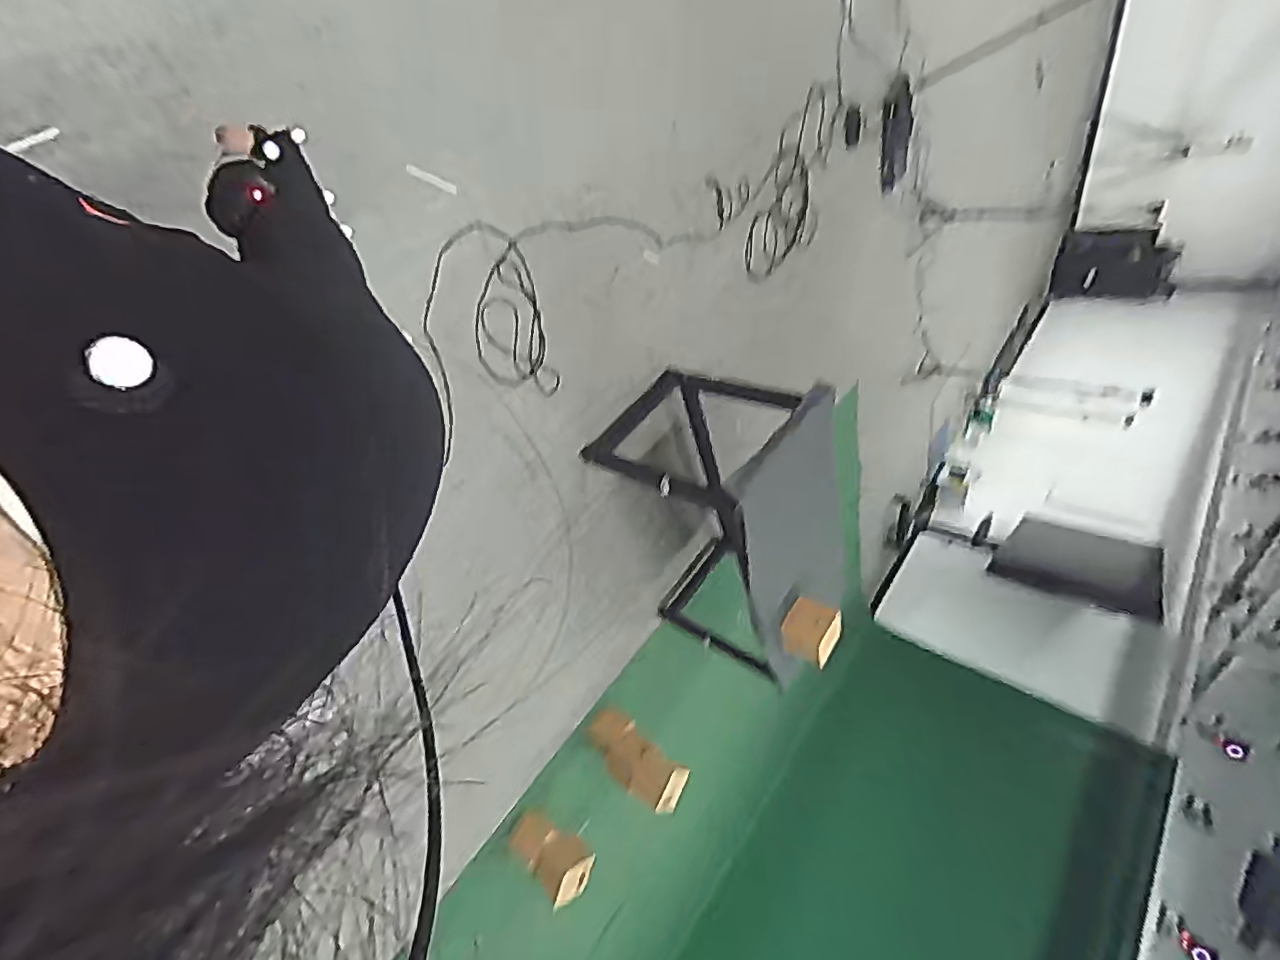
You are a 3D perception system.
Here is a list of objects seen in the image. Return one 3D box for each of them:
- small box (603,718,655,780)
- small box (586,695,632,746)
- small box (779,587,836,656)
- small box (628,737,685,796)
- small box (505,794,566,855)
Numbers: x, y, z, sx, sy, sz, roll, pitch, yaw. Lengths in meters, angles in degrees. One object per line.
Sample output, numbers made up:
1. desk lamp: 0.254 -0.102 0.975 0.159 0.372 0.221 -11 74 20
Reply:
1. small box: -0.055 1.261 2.556 0.168 0.176 0.179 -7 113 -46
2. small box: -0.151 1.198 2.674 0.168 0.176 0.179 -31 129 -36
3. small box: 0.669 0.564 2.175 0.179 0.176 0.168 -48 137 -27
4. small box: 0.070 1.302 2.457 0.168 0.176 0.179 37 77 -49
5. small box: -0.477 1.566 2.461 0.168 0.176 0.179 -53 140 -19
